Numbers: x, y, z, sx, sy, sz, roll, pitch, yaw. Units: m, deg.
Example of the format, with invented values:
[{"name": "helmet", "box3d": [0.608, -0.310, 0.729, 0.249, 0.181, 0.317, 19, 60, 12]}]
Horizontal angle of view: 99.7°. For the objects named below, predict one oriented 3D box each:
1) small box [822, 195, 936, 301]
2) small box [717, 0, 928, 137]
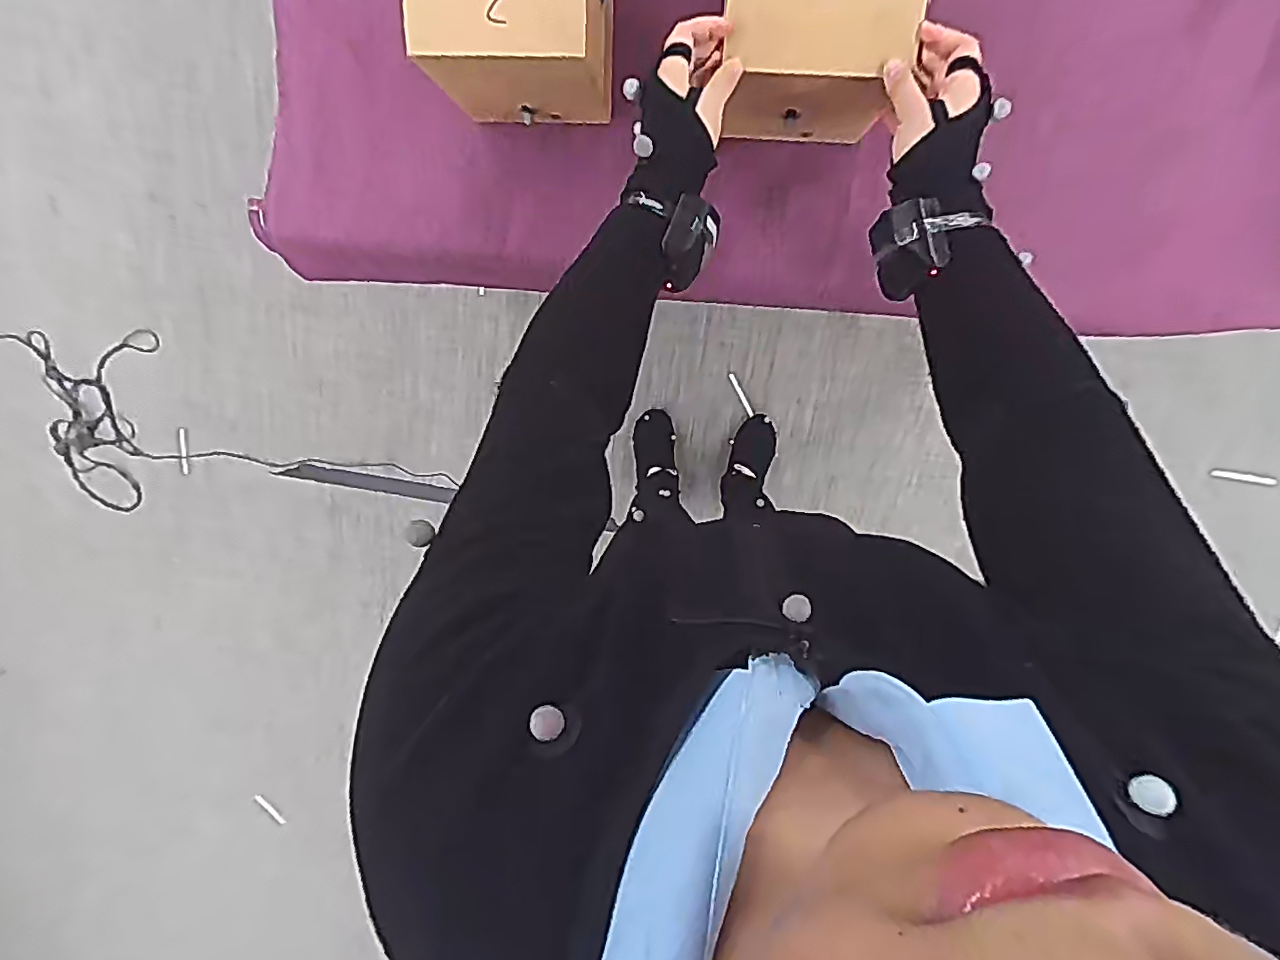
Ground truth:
[{"name": "small box", "box3d": [0.530, -0.517, 1.232, 0.168, 0.176, 0.179, 16, 106, 1]}, {"name": "small box", "box3d": [0.167, -0.456, 0.520, 0.168, 0.176, 0.179, 6, 105, 3]}]
